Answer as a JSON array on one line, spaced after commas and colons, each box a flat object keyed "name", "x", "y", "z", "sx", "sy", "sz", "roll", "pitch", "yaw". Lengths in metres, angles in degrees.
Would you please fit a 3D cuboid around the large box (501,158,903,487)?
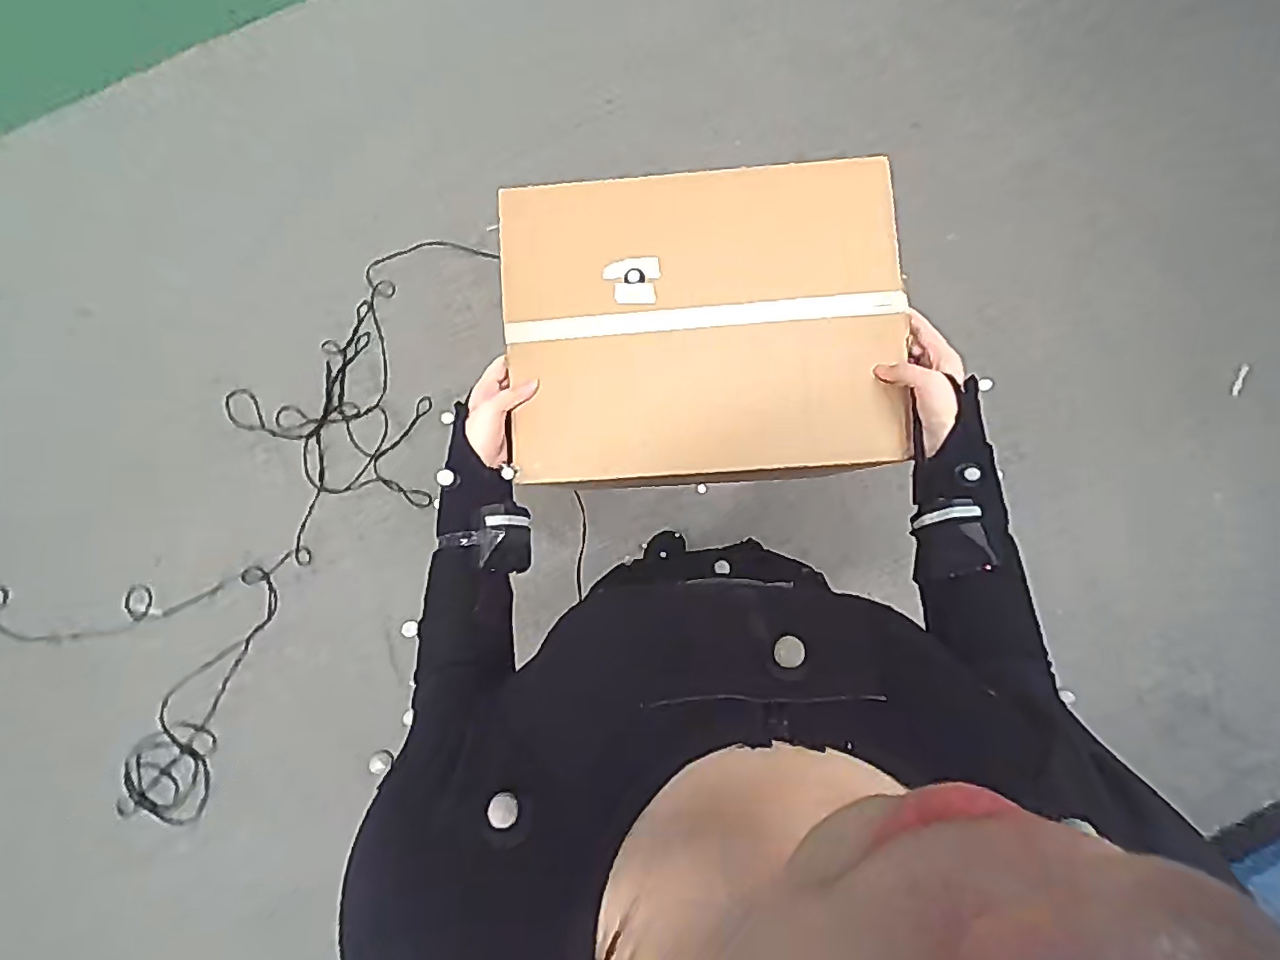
[{"name": "large box", "x": 0.070, "y": -0.160, "z": 0.714, "sx": 0.408, "sy": 0.320, "sz": 0.320, "roll": -5, "pitch": 87, "yaw": 4}]
